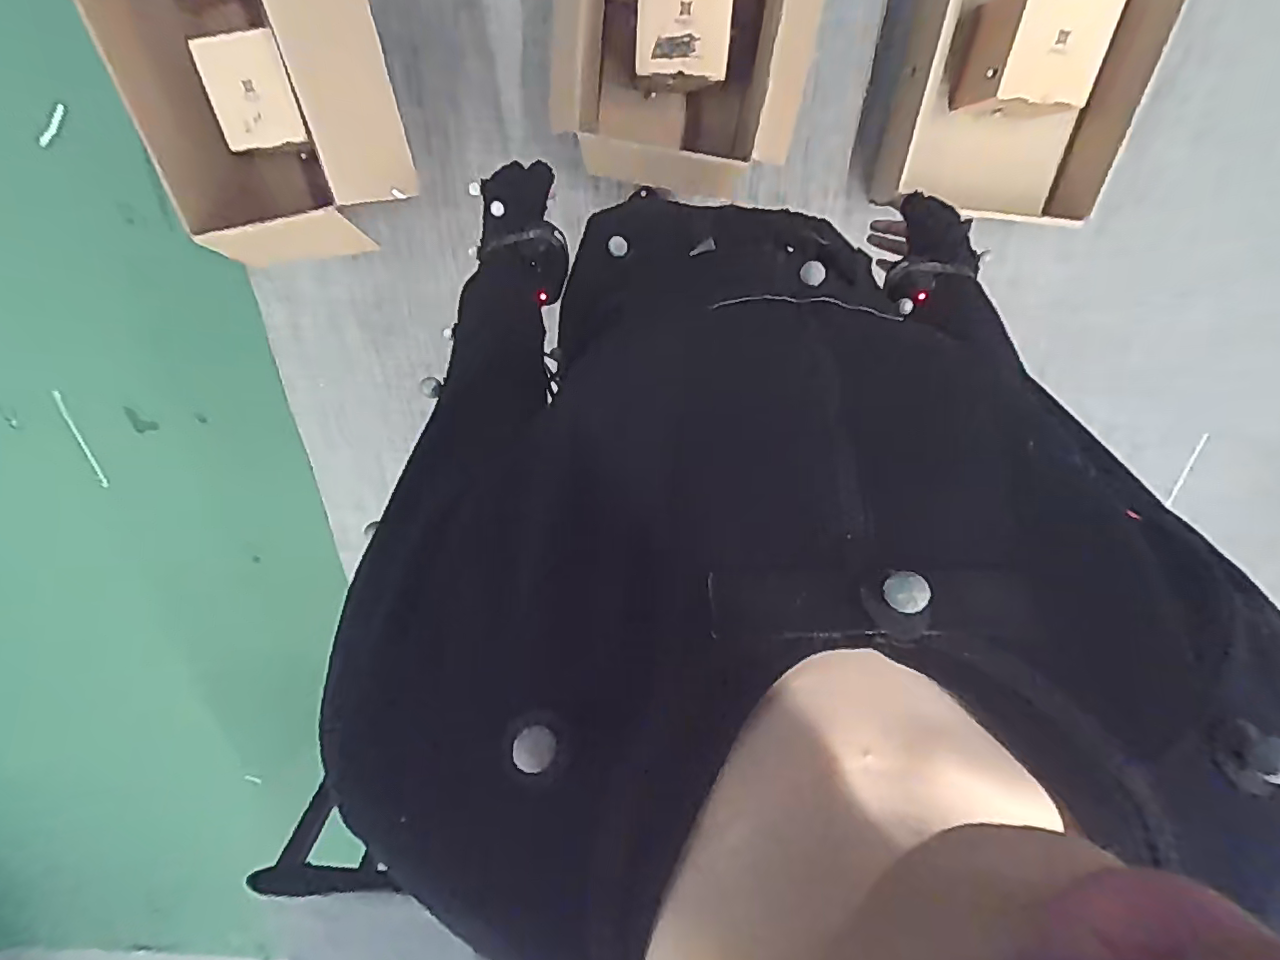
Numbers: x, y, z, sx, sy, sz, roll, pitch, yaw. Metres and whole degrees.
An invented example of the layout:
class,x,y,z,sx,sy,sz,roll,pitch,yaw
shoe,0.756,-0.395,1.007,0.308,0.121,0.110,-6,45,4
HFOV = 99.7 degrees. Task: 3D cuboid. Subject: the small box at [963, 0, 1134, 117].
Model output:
class,x,y,z,sx,sy,sz,roll,pitch,yaw
small box,0.729,-0.783,0.984,0.168,0.176,0.179,5,118,-1
